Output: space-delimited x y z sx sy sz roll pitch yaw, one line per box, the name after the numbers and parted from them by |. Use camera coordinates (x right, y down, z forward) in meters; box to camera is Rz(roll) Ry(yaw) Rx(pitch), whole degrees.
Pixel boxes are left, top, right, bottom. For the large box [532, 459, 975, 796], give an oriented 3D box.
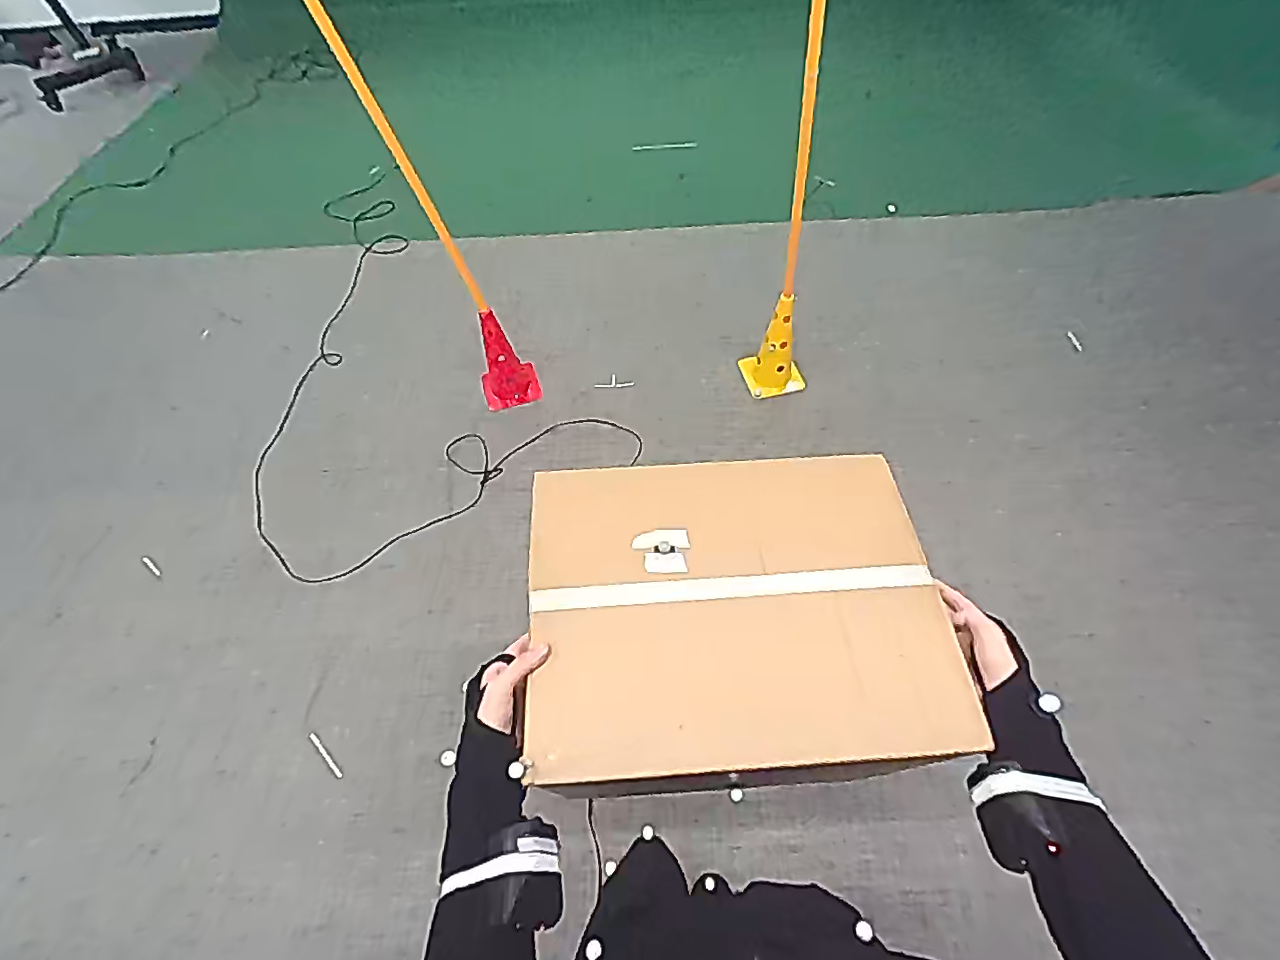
0.096 0.198 0.678 0.408 0.320 0.320 -4 56 -1 | large box
